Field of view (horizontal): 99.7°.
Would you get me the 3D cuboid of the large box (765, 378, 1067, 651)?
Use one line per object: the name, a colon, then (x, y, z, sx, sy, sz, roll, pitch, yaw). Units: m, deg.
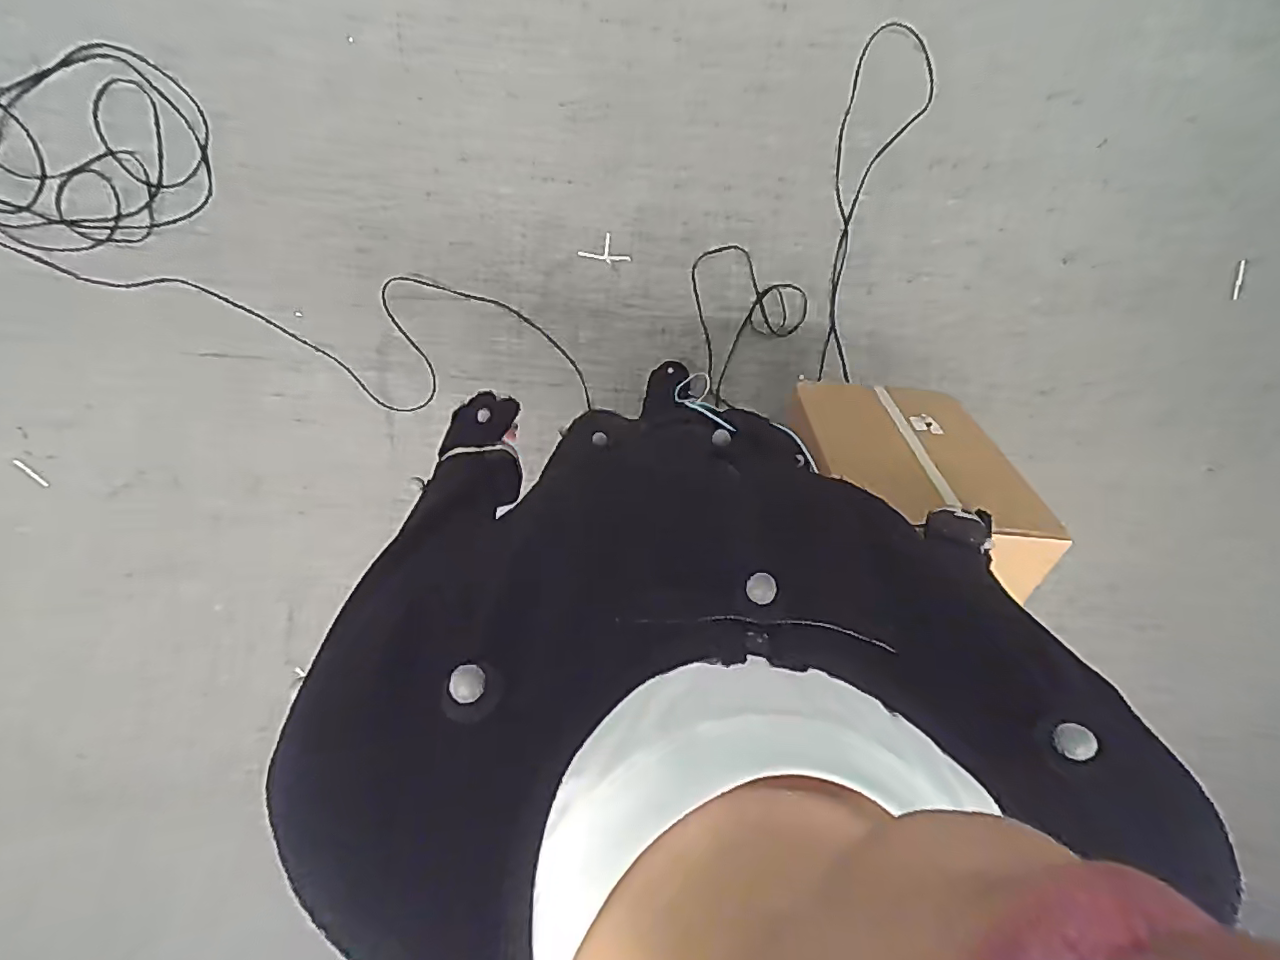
large box: (0.438, 0.054, 0.990, 0.320, 0.408, 0.320, 5, 129, -2)
